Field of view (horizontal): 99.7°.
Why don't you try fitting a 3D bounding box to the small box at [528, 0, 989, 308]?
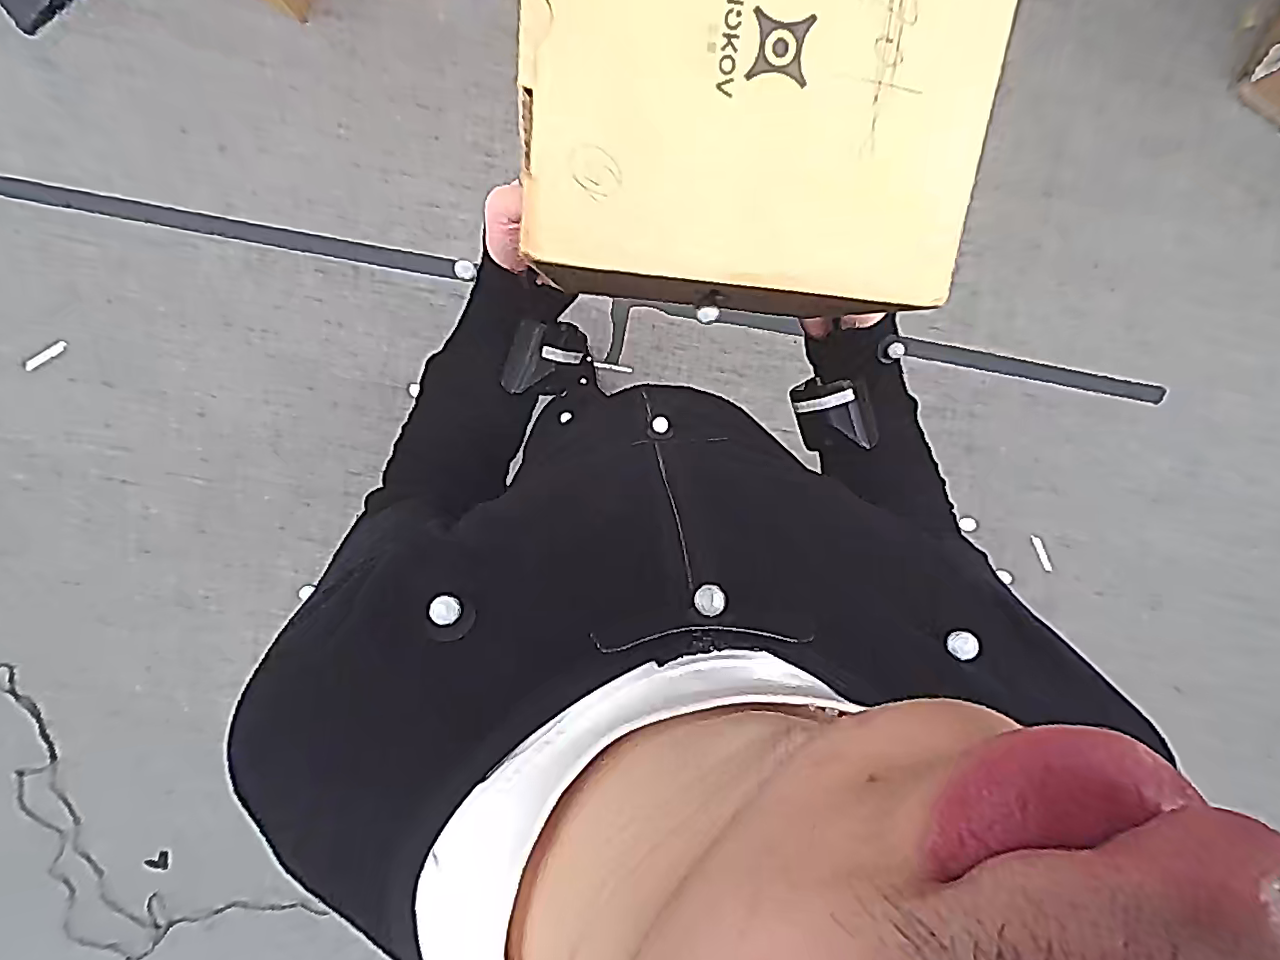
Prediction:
[{"bbox_3d":[0.043,-0.185,0.286,0.179,0.176,0.168,3,105,-4],"label":"small box"}]
